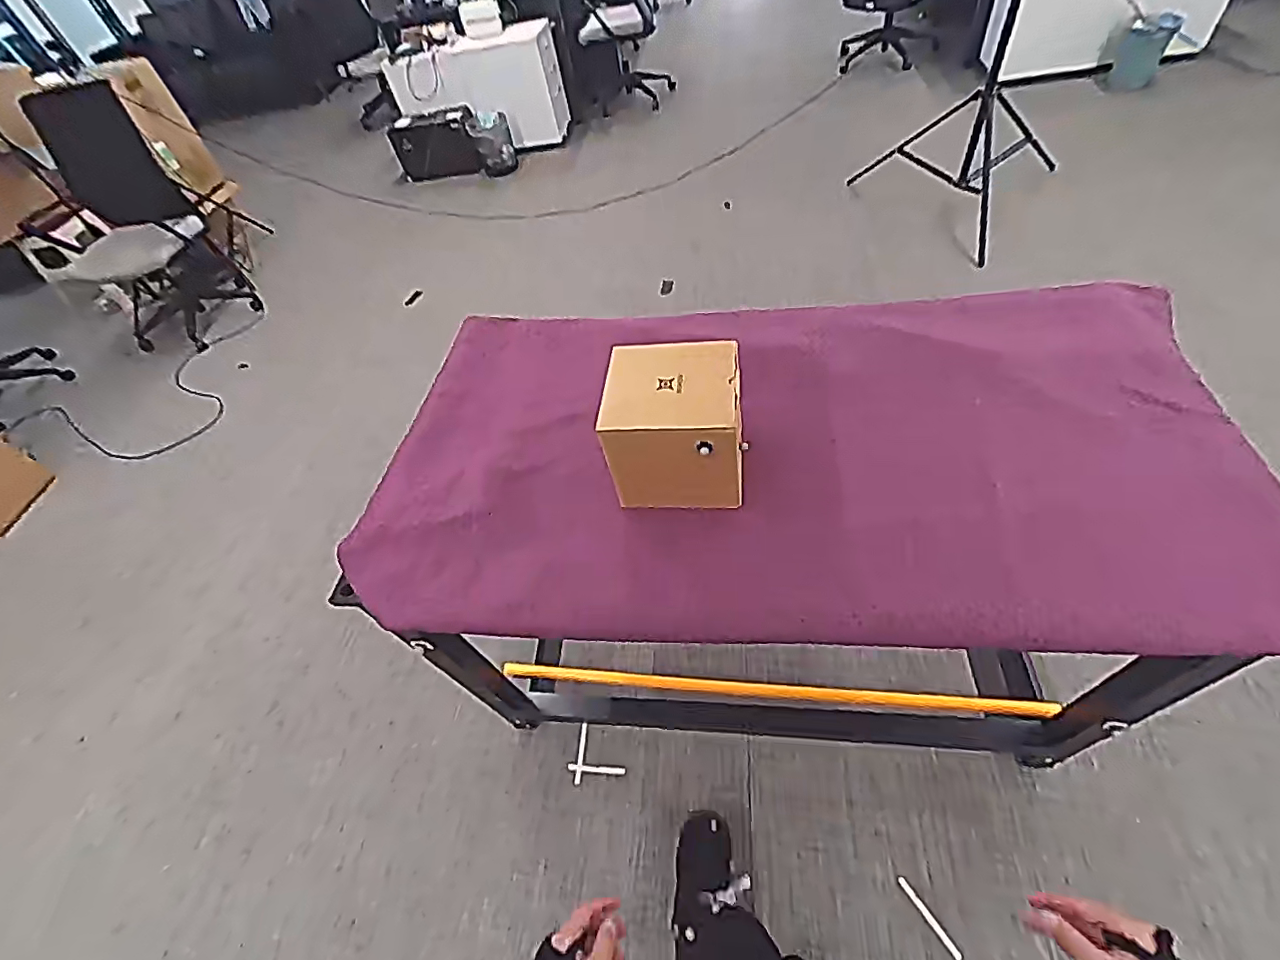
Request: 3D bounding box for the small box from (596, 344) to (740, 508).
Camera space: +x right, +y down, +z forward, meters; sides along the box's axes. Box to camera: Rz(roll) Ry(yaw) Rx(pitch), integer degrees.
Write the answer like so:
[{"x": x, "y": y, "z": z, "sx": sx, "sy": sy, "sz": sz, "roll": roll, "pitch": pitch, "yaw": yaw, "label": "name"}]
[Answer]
[{"x": 0.051, "y": -0.072, "z": 0.768, "sx": 0.179, "sy": 0.176, "sz": 0.168, "roll": 0, "pitch": 51, "yaw": 10, "label": "small box"}]
